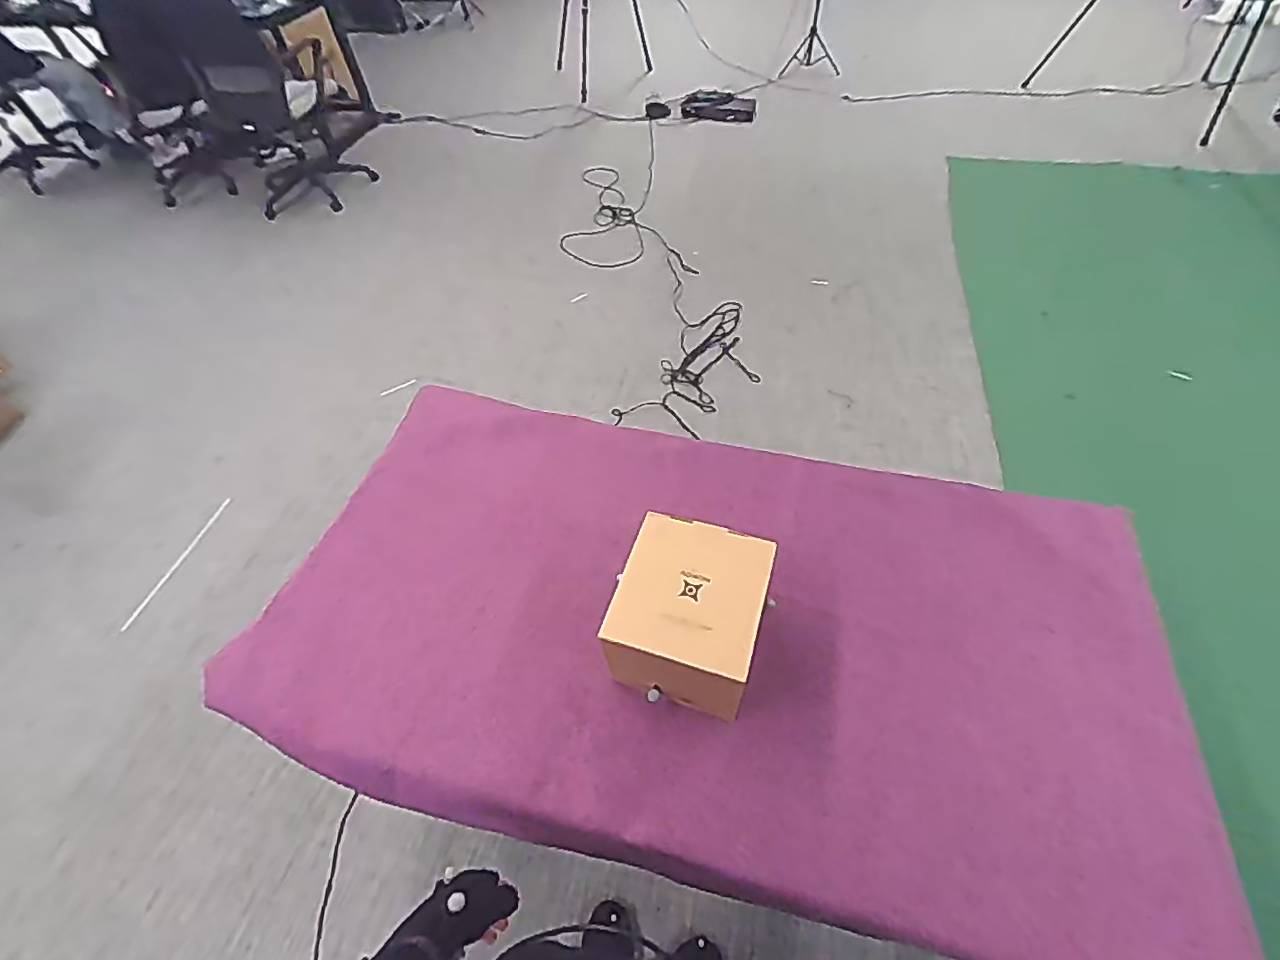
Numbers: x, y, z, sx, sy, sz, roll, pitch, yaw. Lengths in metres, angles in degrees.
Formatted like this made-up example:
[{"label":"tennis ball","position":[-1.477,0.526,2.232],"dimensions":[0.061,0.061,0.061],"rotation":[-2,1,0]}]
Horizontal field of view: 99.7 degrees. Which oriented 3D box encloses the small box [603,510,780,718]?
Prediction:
[{"label":"small box","position":[0.066,0.169,0.678],"dimensions":[0.168,0.176,0.179],"rotation":[14,56,14]}]
